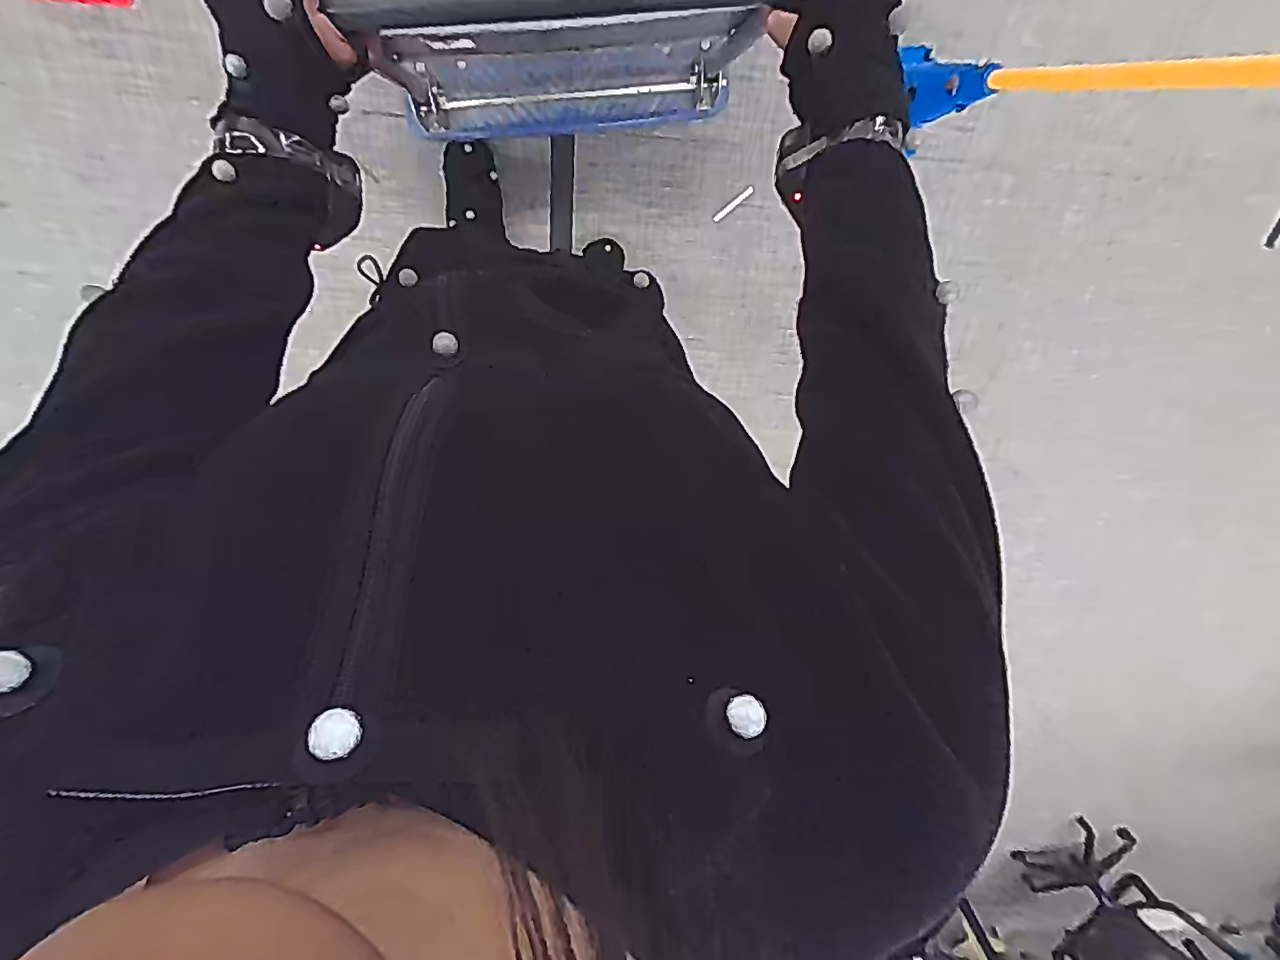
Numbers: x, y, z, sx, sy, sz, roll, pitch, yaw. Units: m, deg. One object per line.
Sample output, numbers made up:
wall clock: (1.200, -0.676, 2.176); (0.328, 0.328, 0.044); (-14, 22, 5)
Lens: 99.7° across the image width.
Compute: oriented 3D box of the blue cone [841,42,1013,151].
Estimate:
blue cone: (0.547, -0.739, 1.013); (0.193, 0.380, 0.192); (-3, 119, -6)
